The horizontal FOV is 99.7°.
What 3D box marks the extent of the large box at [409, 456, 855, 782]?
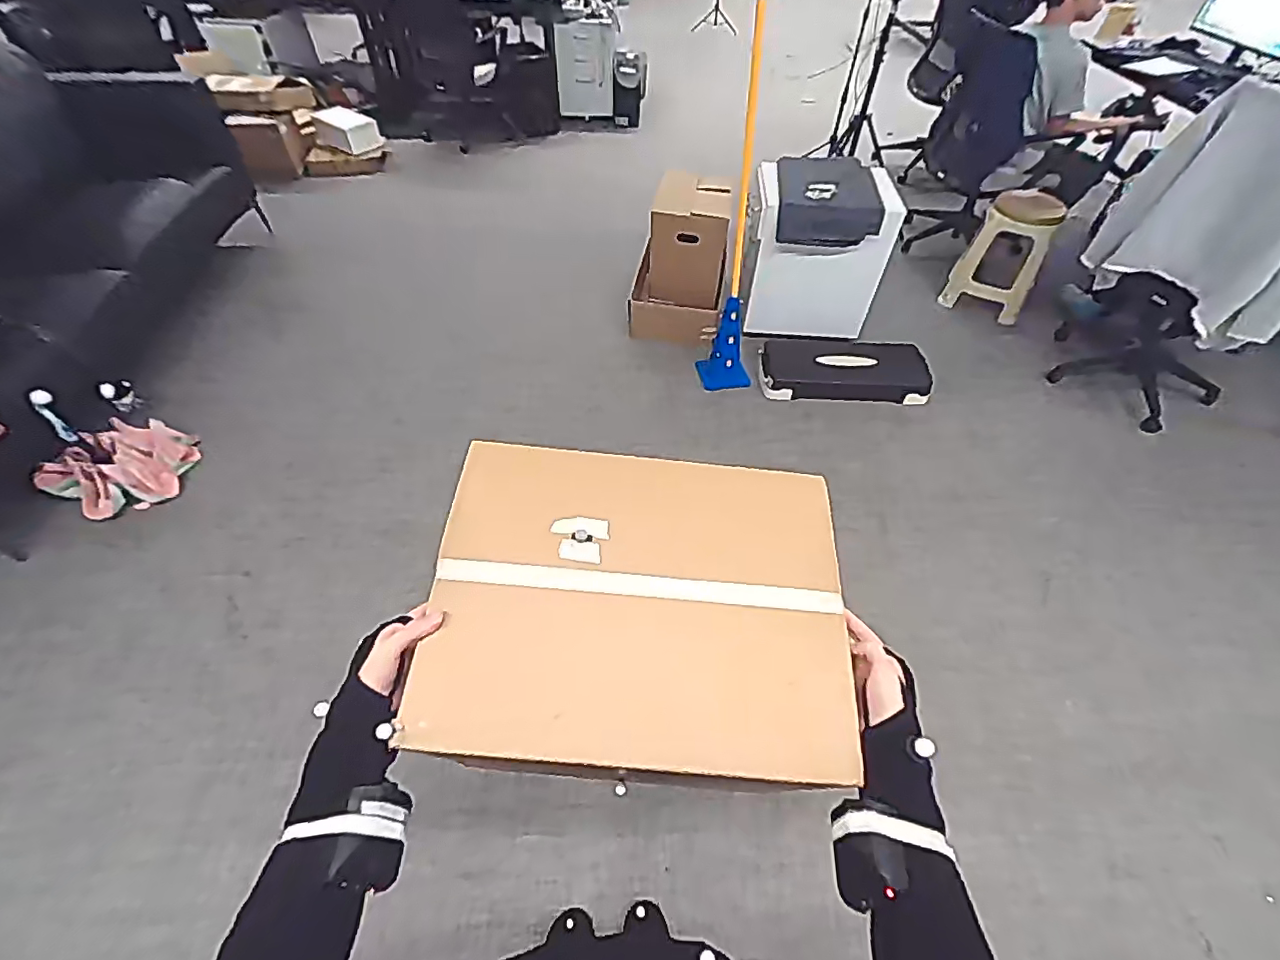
[{"bbox_3d":[-0.004,0.192,0.678,0.408,0.320,0.320,5,58,-1],"label":"large box"}]
